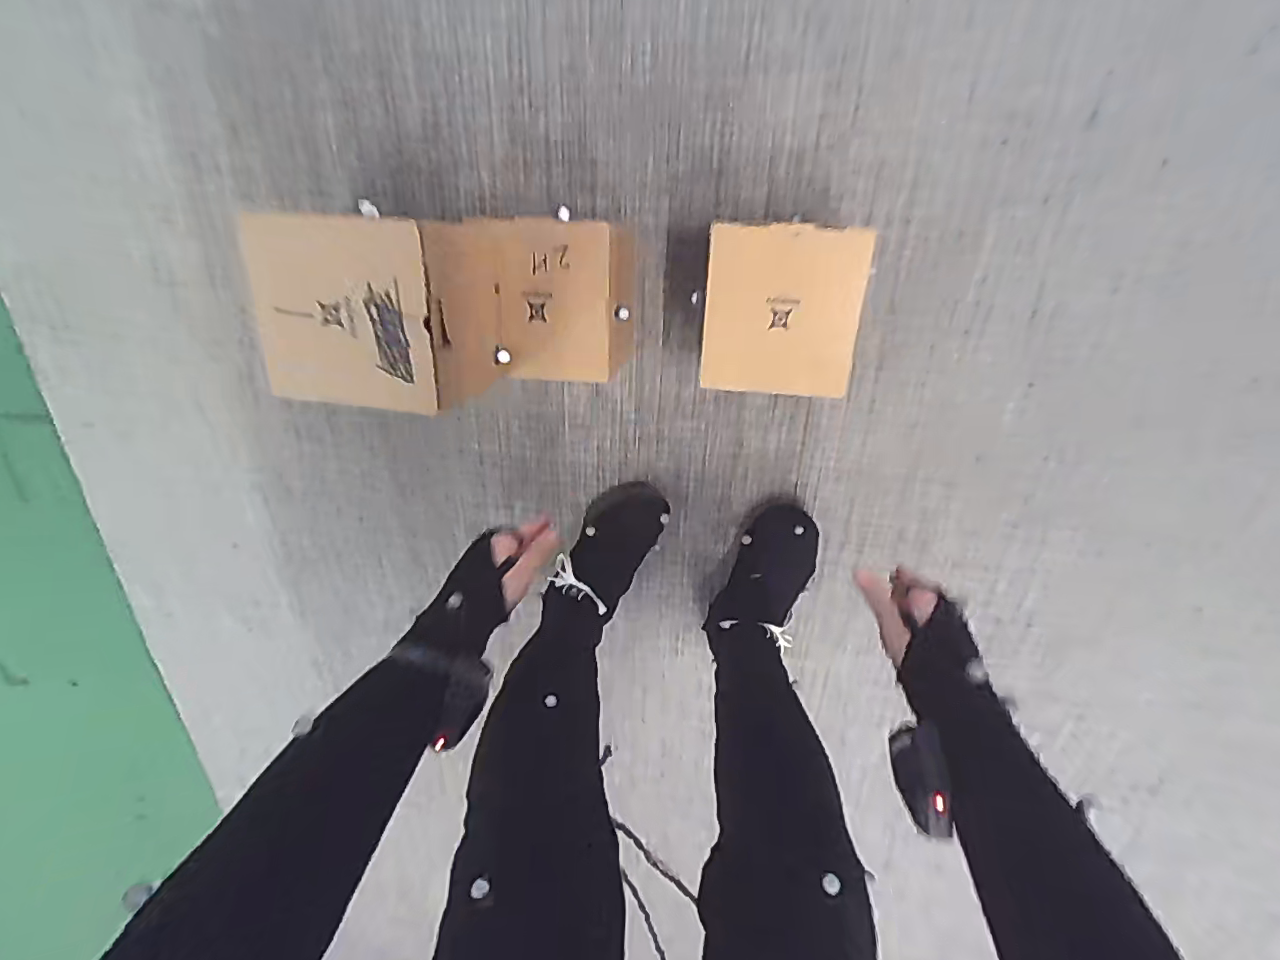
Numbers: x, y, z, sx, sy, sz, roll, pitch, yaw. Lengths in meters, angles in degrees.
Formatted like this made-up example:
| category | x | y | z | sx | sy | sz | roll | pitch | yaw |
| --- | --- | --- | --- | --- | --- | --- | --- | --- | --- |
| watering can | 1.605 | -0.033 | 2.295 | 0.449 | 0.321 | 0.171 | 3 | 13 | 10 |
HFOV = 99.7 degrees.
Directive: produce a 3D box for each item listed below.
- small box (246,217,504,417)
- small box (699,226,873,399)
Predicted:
| category | x | y | z | sx | sy | sz | roll | pitch | yaw |
| --- | --- | --- | --- | --- | --- | --- | --- | --- | --- |
| small box | -0.249 | -0.174 | 0.562 | 0.179 | 0.176 | 0.168 | 6 | 113 | 6 |
| small box | 0.166 | -0.210 | 0.661 | 0.168 | 0.176 | 0.179 | 5 | 113 | 7 |
